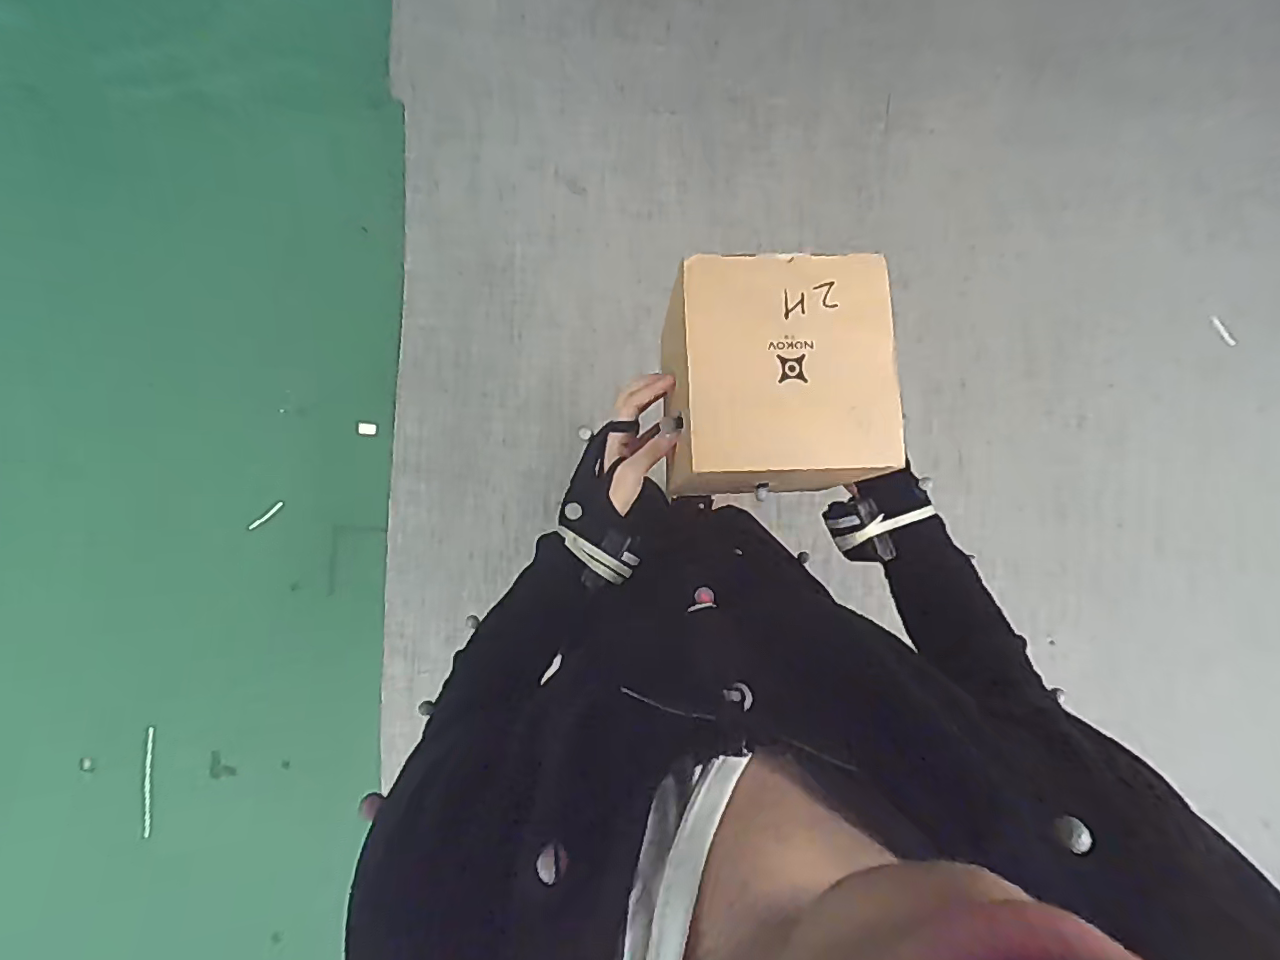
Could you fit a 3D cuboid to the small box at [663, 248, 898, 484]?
[{"bbox_3d":[0.112,-0.089,0.499,0.168,0.176,0.179,-1,82,-3],"label":"small box"}]
